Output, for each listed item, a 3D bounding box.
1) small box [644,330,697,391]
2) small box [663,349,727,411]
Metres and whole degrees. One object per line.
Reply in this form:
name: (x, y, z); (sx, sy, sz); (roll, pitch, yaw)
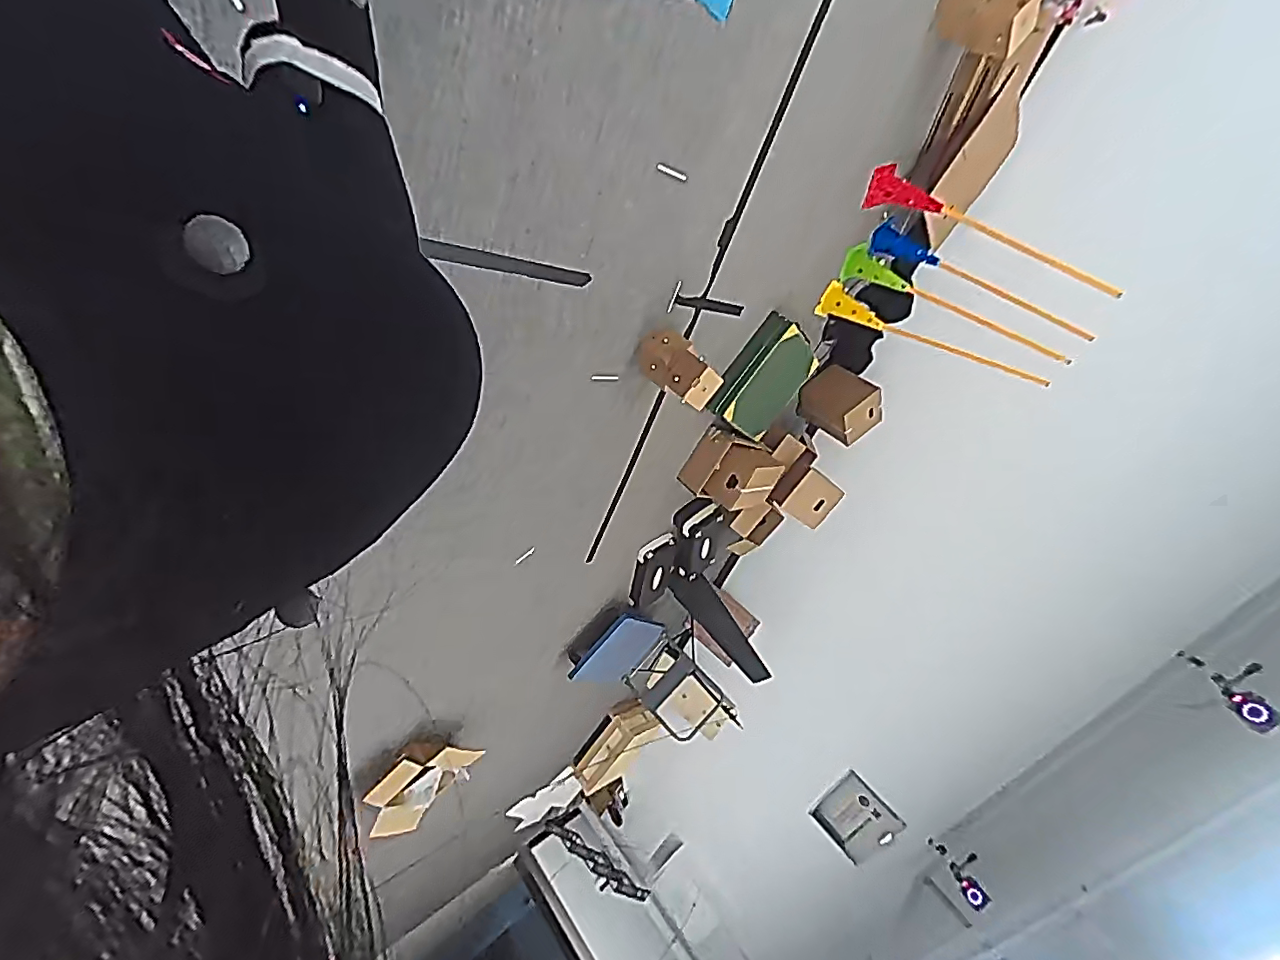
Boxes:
small box: (0.131, -0.524, 2.339); (0.168, 0.176, 0.179); (-35, 149, -20)
small box: (0.225, -0.419, 2.251); (0.168, 0.176, 0.179); (-51, 150, 11)
